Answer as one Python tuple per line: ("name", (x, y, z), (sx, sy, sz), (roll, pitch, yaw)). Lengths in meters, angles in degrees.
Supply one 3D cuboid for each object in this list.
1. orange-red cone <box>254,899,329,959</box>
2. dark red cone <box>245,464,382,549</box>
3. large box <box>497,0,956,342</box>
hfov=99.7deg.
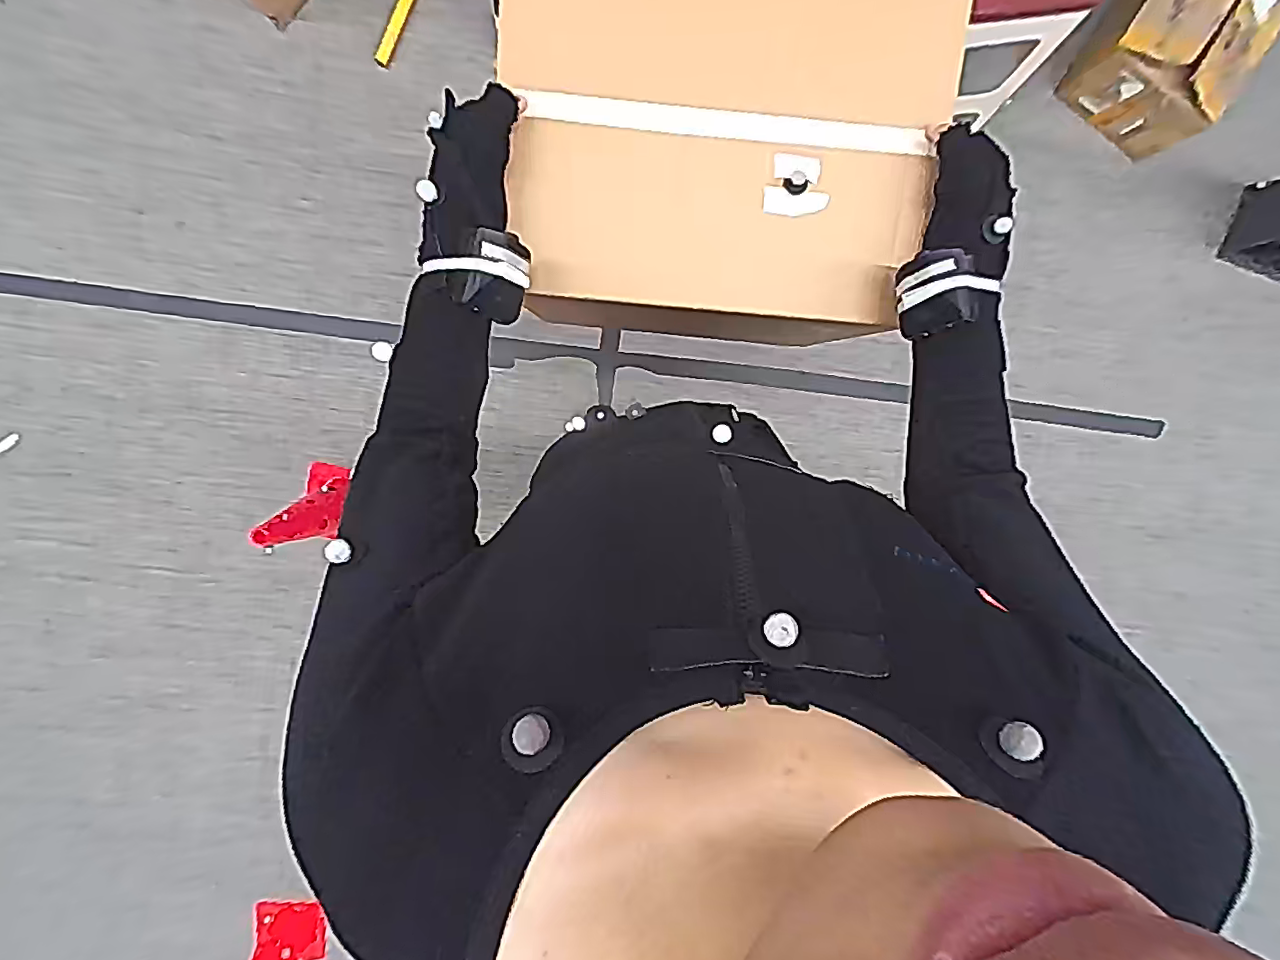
("orange-red cone", (-1.011, 1.355, 1.426), (0.198, 0.360, 0.199), (5, 99, -3))
("dark red cone", (-0.769, 0.091, 1.243), (0.201, 0.394, 0.202), (13, 97, -6))
("large box", (0.066, -0.343, 0.632), (0.408, 0.320, 0.320), (4, 100, -3))
